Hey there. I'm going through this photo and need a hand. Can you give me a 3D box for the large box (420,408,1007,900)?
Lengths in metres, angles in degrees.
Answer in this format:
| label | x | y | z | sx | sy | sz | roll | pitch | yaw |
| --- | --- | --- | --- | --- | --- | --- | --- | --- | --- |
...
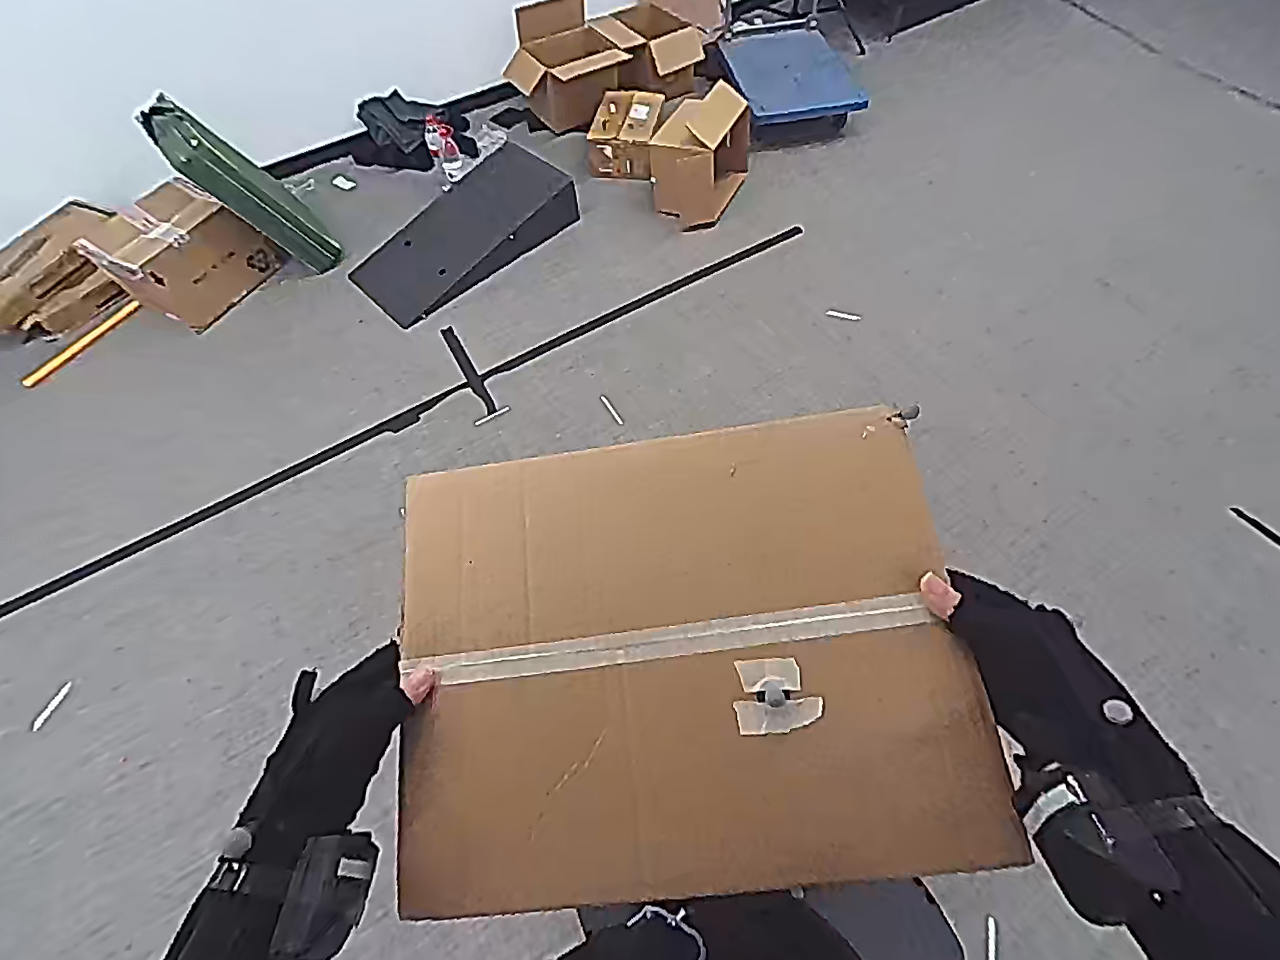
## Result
| label | x | y | z | sx | sy | sz | roll | pitch | yaw |
| --- | --- | --- | --- | --- | --- | --- | --- | --- | --- |
| large box | 0.040 | 0.161 | 0.548 | 0.408 | 0.320 | 0.320 | -9 | 72 | 4 |
